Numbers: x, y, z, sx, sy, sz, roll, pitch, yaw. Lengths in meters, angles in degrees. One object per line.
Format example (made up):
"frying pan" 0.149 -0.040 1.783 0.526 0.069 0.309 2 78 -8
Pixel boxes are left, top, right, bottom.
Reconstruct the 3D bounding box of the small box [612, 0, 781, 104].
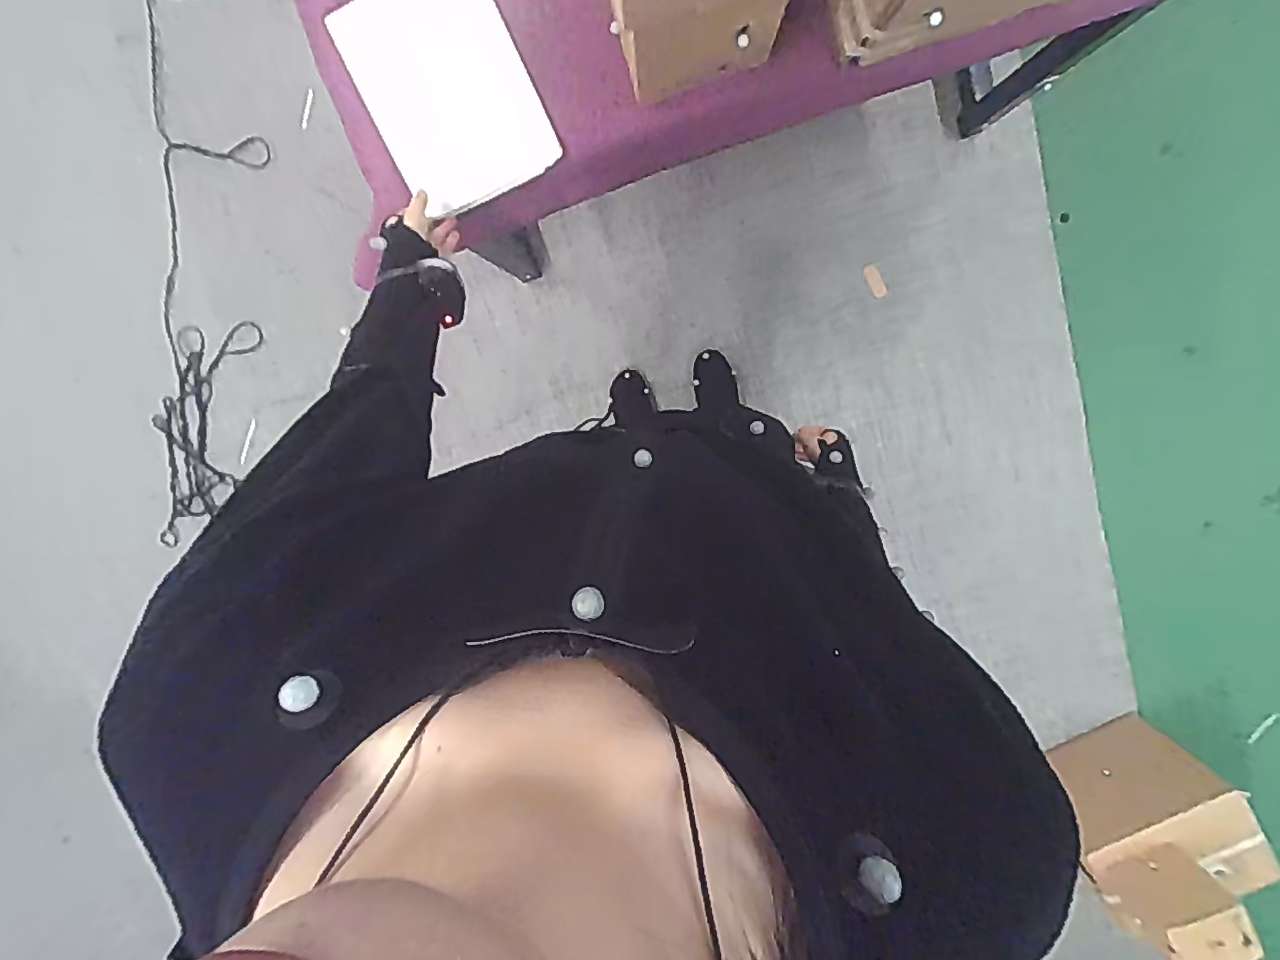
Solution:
"small box" 0.050 -0.544 0.579 0.168 0.176 0.179 -16 99 4

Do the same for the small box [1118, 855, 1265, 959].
"small box" 1.293 1.047 1.283 0.179 0.176 0.168 -27 99 7

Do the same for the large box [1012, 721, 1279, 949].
"large box" 1.382 0.971 1.516 0.408 0.320 0.320 -32 99 6

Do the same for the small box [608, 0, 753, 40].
"small box" 0.042 -0.501 0.420 0.179 0.176 0.168 -16 99 5
